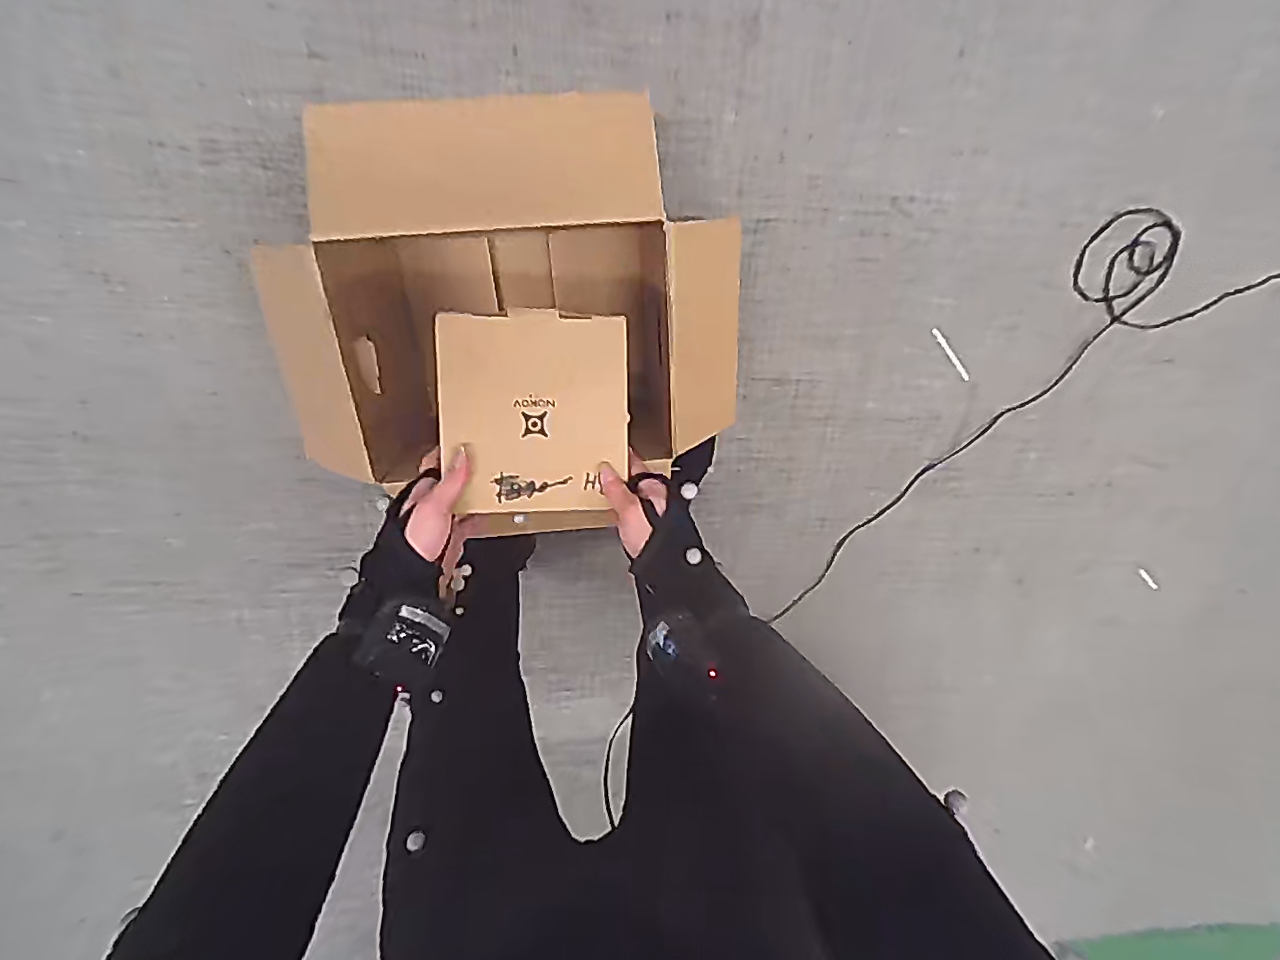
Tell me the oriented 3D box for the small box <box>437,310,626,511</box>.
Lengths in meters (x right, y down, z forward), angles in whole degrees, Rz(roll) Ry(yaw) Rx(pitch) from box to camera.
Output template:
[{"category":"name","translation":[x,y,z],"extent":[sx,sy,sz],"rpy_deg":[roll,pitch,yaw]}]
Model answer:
[{"category":"small box","translation":[-0.106,-0.066,0.557],"extent":[0.168,0.176,0.179],"rpy_deg":[-1,96,-8]}]
